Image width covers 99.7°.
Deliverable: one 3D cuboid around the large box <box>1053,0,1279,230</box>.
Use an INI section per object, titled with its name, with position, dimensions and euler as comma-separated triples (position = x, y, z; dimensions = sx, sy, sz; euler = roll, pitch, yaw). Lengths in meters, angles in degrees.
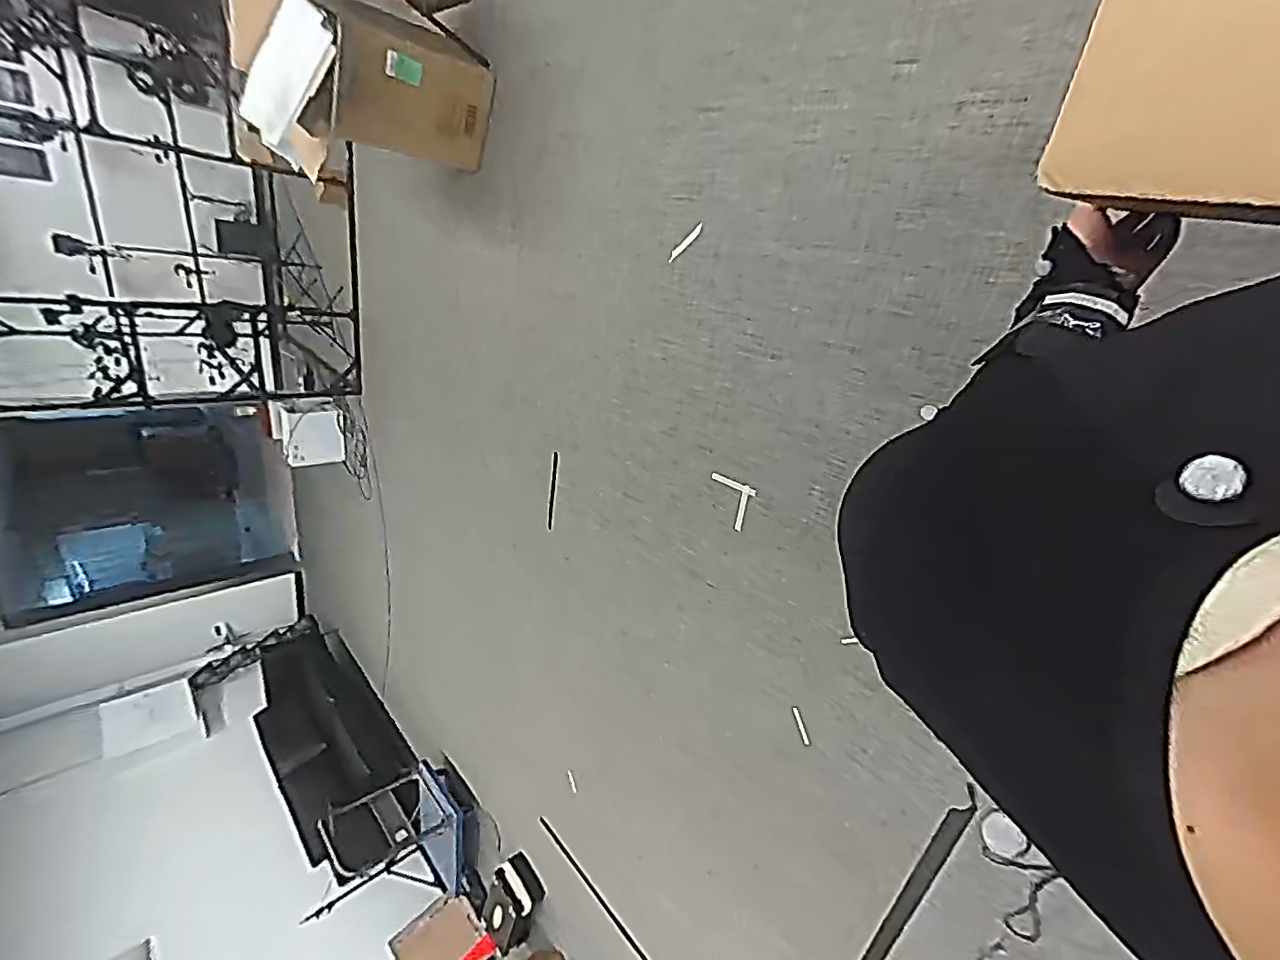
[large box]
position = 0.492, -0.268, 0.223
dimensions = 0.408, 0.320, 0.320
euler = 29, 127, 38
